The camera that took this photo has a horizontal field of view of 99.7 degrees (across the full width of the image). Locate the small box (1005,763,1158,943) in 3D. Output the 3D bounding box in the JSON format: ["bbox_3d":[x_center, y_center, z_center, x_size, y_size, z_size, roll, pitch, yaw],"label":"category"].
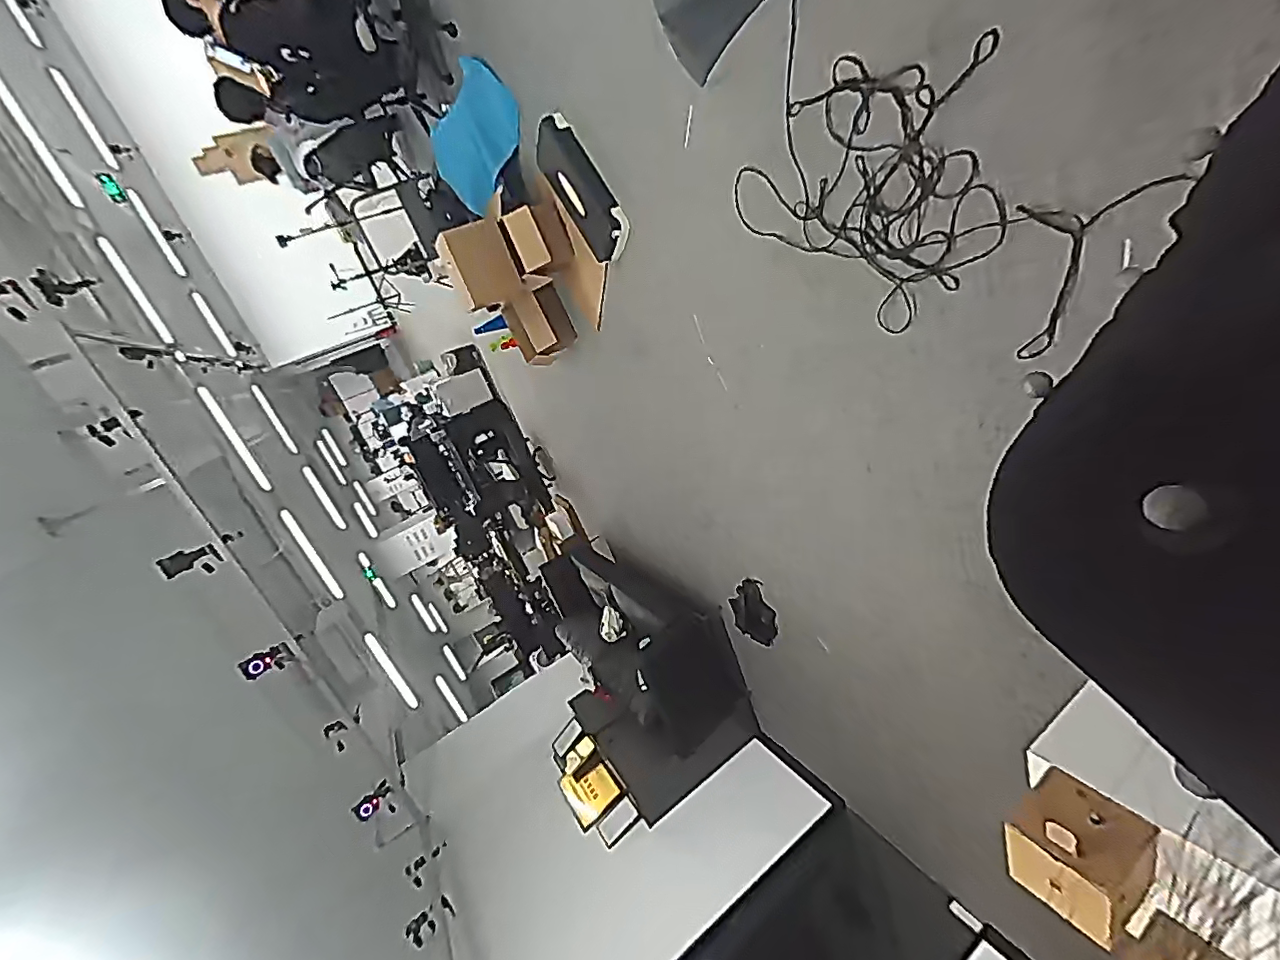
[{"bbox_3d":[0.814,0.677,0.999,0.168,0.176,0.179,23,138,59],"label":"small box"}]
